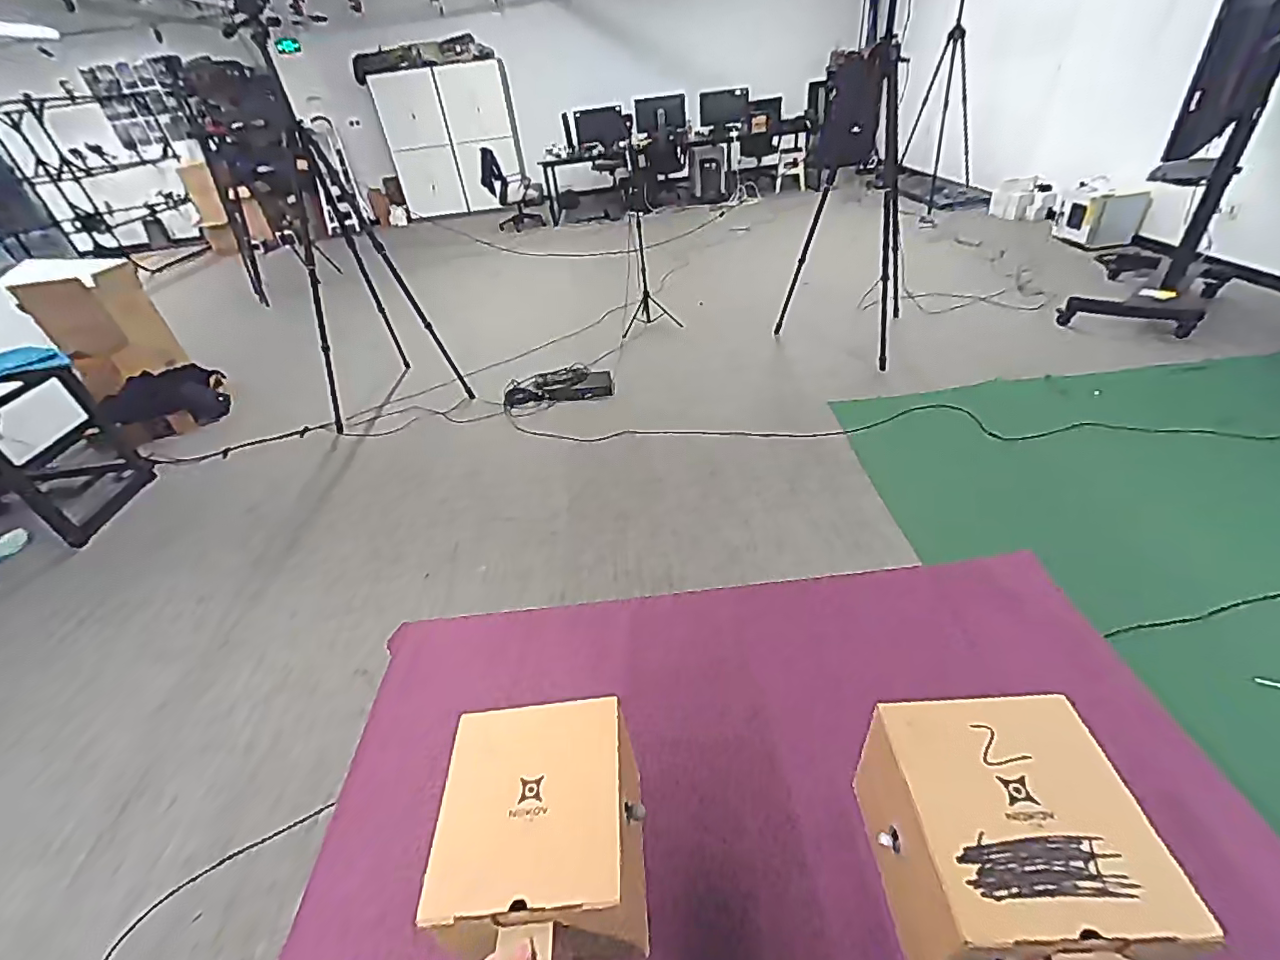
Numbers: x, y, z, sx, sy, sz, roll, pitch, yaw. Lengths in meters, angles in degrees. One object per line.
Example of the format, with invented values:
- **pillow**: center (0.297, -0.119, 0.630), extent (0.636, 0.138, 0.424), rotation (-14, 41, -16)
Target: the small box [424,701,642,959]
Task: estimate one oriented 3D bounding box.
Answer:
- **small box**: center (-0.091, 0.356, 0.552), extent (0.168, 0.176, 0.179), rotation (-8, 38, 2)
